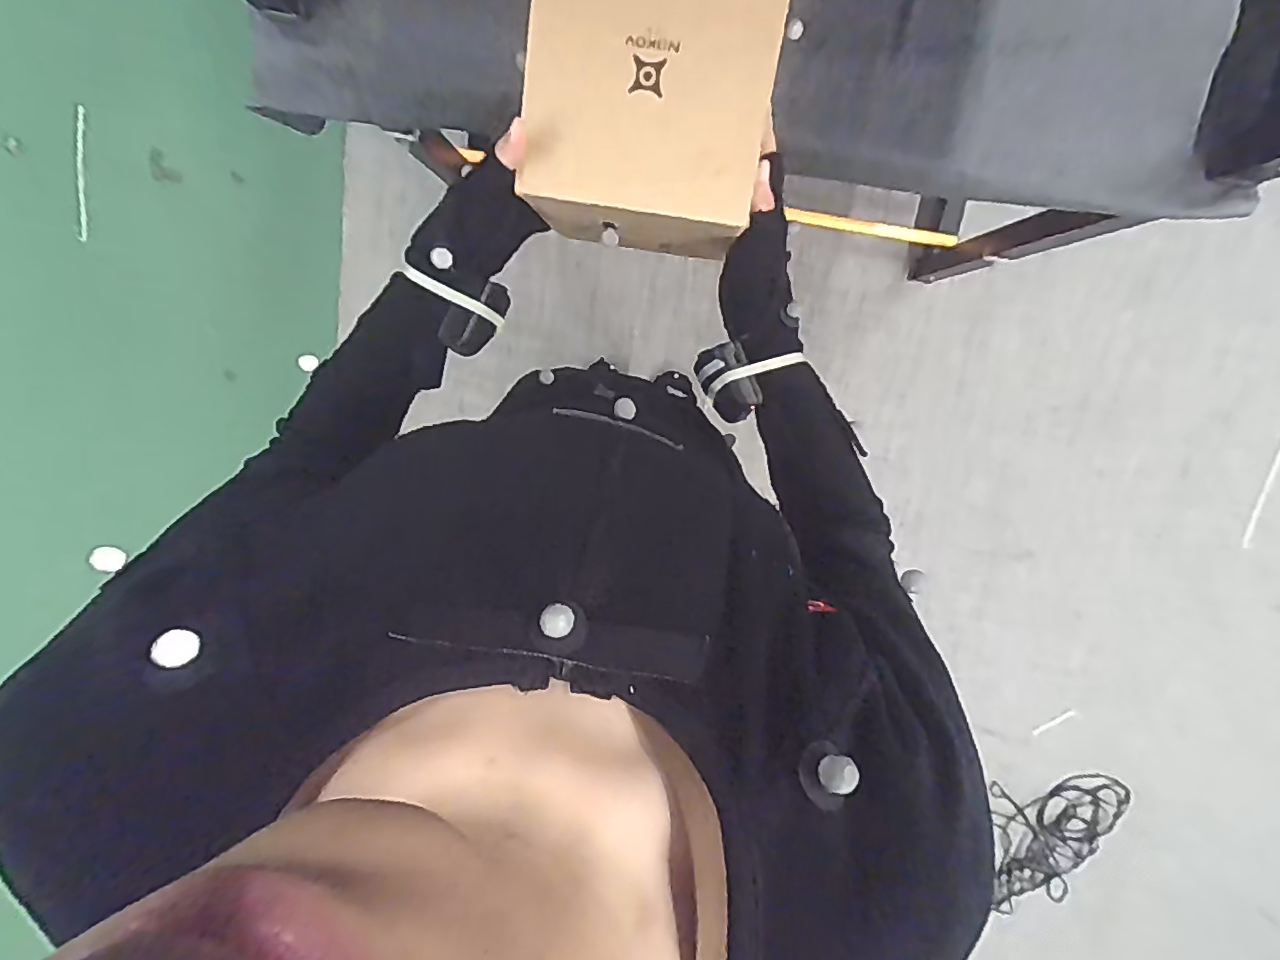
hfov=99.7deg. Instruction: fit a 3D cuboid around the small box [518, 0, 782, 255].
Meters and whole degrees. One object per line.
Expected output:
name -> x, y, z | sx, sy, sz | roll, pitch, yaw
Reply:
small box -> 0.009, -0.296, 0.441 | 0.168, 0.176, 0.179 | 9, 103, 1
